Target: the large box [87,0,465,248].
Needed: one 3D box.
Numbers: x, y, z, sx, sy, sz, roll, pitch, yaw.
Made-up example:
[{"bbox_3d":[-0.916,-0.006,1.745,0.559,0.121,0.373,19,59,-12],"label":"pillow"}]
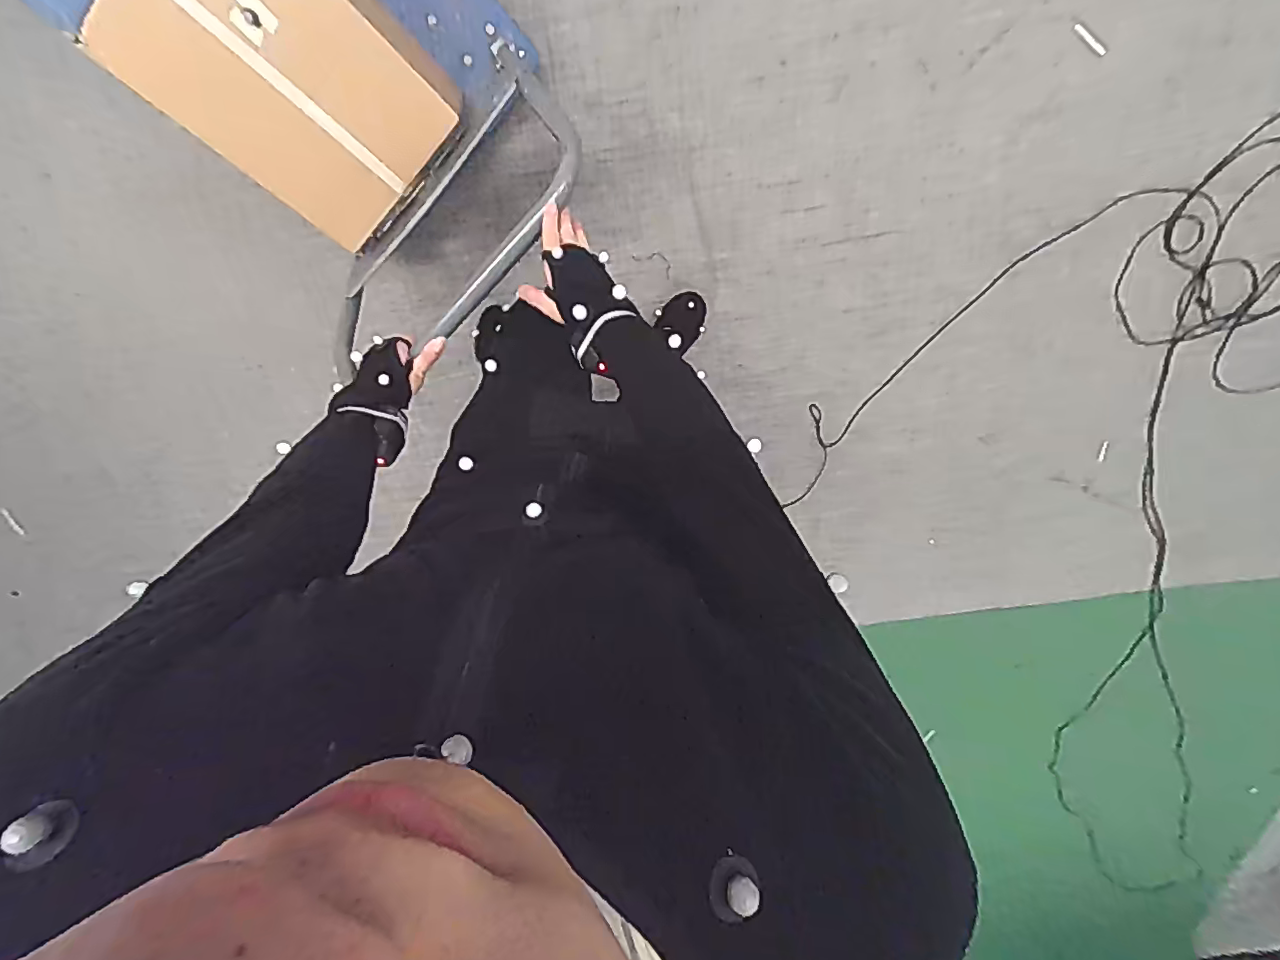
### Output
[{"bbox_3d":[-0.562,-0.696,0.929,0.320,0.320,0.408,-40,129,18],"label":"large box"}]
